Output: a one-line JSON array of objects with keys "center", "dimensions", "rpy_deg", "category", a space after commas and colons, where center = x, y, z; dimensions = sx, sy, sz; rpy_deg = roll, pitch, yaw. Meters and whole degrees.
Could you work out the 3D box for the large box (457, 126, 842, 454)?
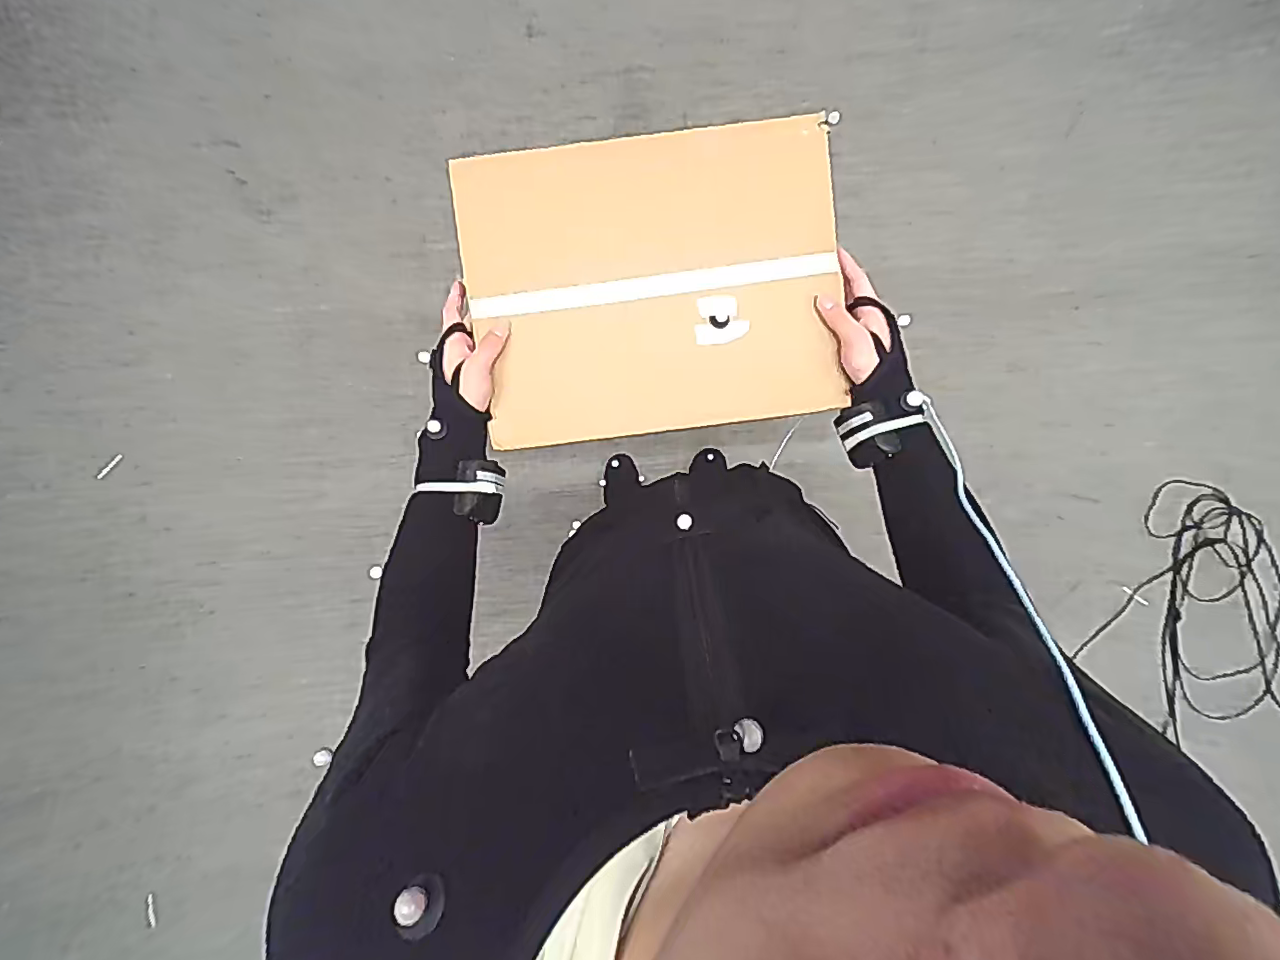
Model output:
[{"center": [0.012, -0.221, 0.752], "dimensions": [0.408, 0.320, 0.320], "rpy_deg": [-8, 96, 0], "category": "large box"}]
